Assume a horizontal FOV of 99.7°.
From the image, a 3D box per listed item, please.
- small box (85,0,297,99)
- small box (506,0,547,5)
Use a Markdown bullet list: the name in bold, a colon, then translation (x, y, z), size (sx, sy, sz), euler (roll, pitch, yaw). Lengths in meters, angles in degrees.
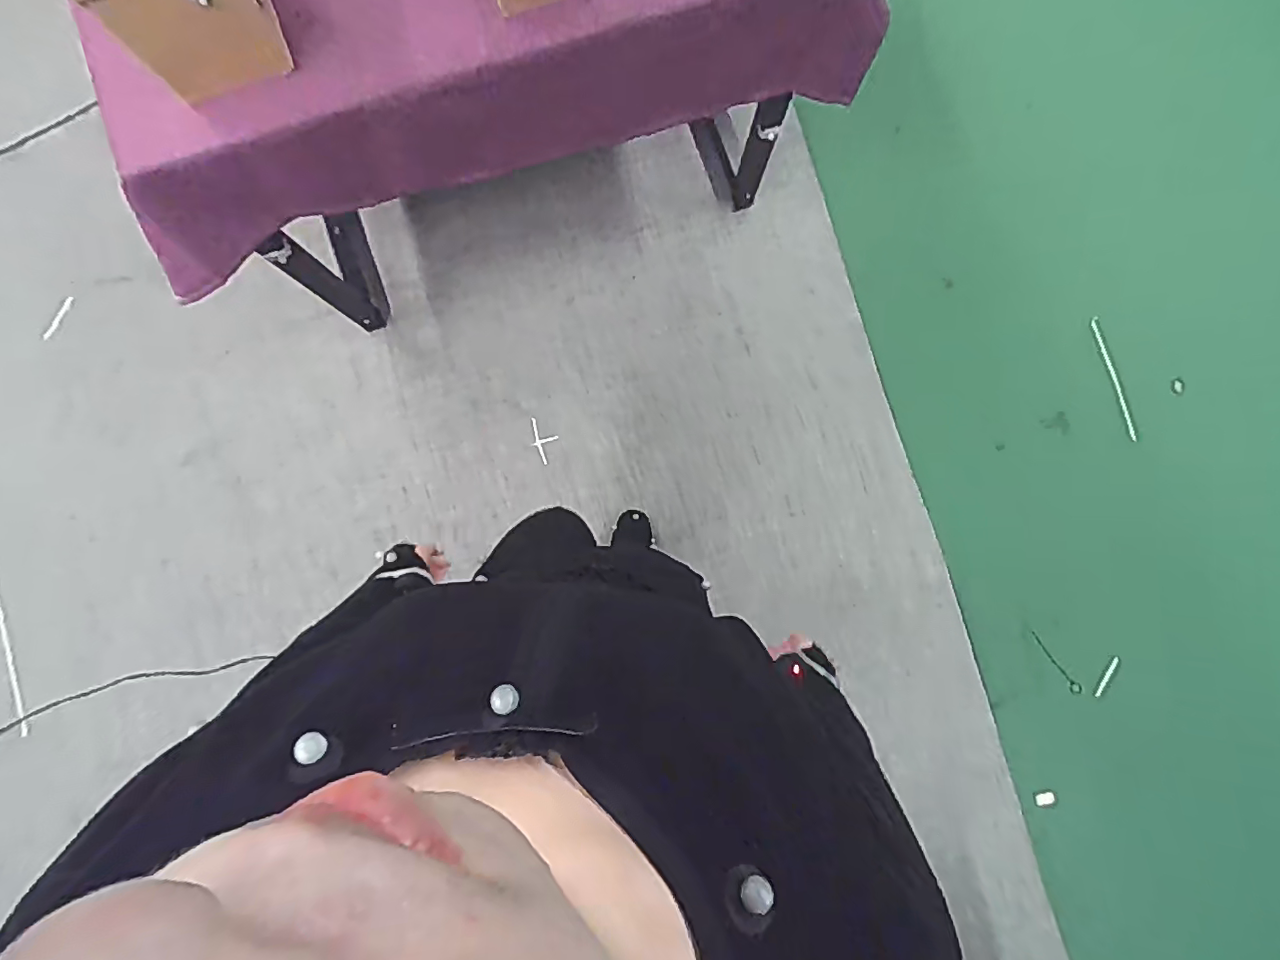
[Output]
- **small box**: translation (-0.633, -0.685, 0.759), size (0.179, 0.176, 0.168), euler (-20, 85, -3)
- **small box**: translation (-0.152, -0.835, 0.774), size (0.168, 0.176, 0.179), euler (-17, 85, -2)
